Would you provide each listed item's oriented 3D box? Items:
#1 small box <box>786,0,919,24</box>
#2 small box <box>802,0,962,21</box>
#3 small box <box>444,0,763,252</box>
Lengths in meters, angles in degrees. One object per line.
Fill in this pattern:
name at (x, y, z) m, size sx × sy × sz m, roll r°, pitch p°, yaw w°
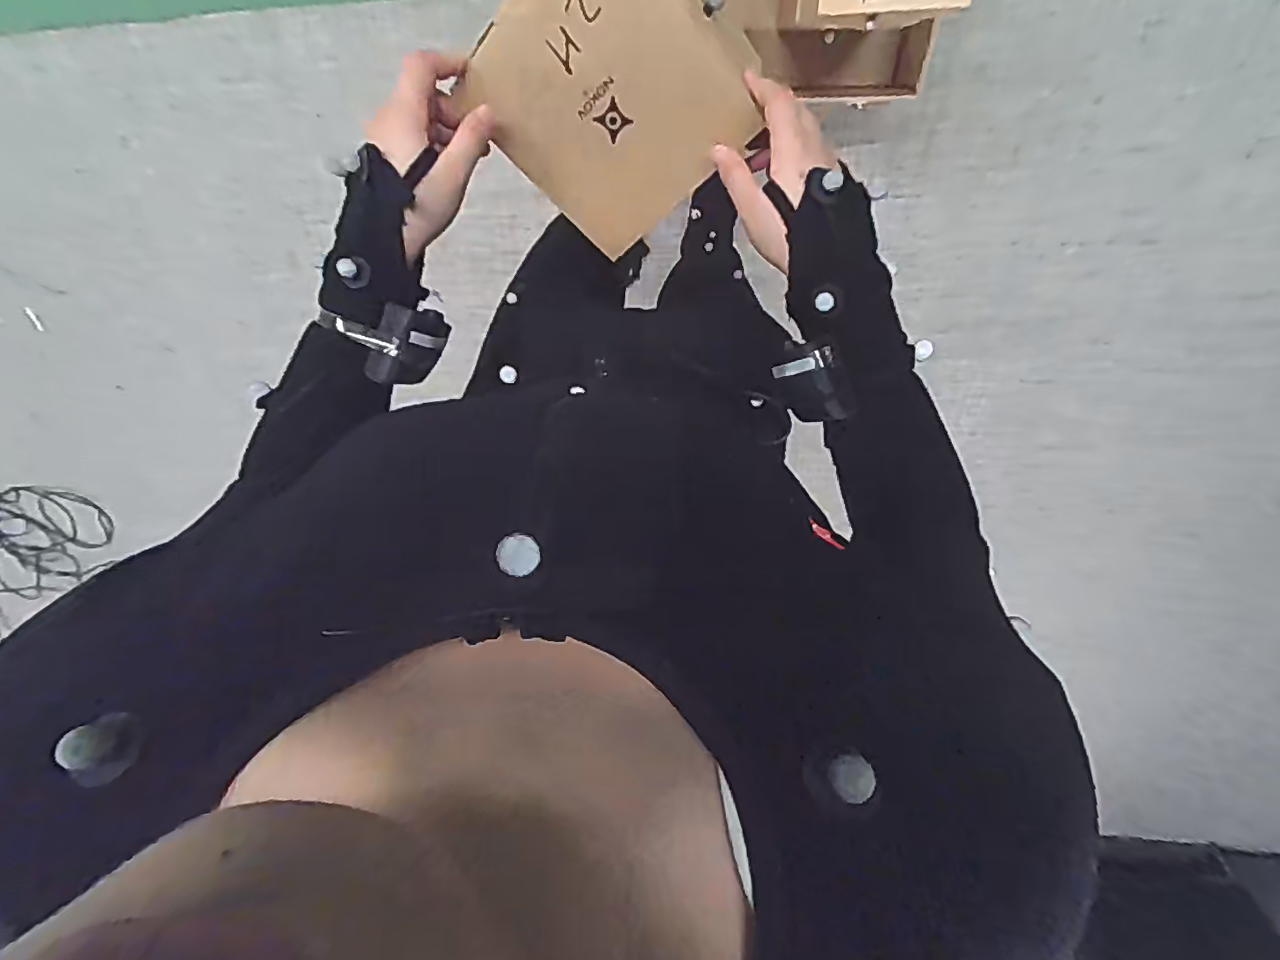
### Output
small box at (0.299, -0.738, 0.732) m, size 0.168 × 0.176 × 0.179 m, roll 4°, pitch 129°, yaw 5°
small box at (0.282, -0.638, 0.603) m, size 0.168 × 0.176 × 0.179 m, roll 2°, pitch 127°, yaw 7°
small box at (-0.018, -0.336, 0.438) m, size 0.168 × 0.176 × 0.179 m, roll -28°, pitch 129°, yaw 35°
